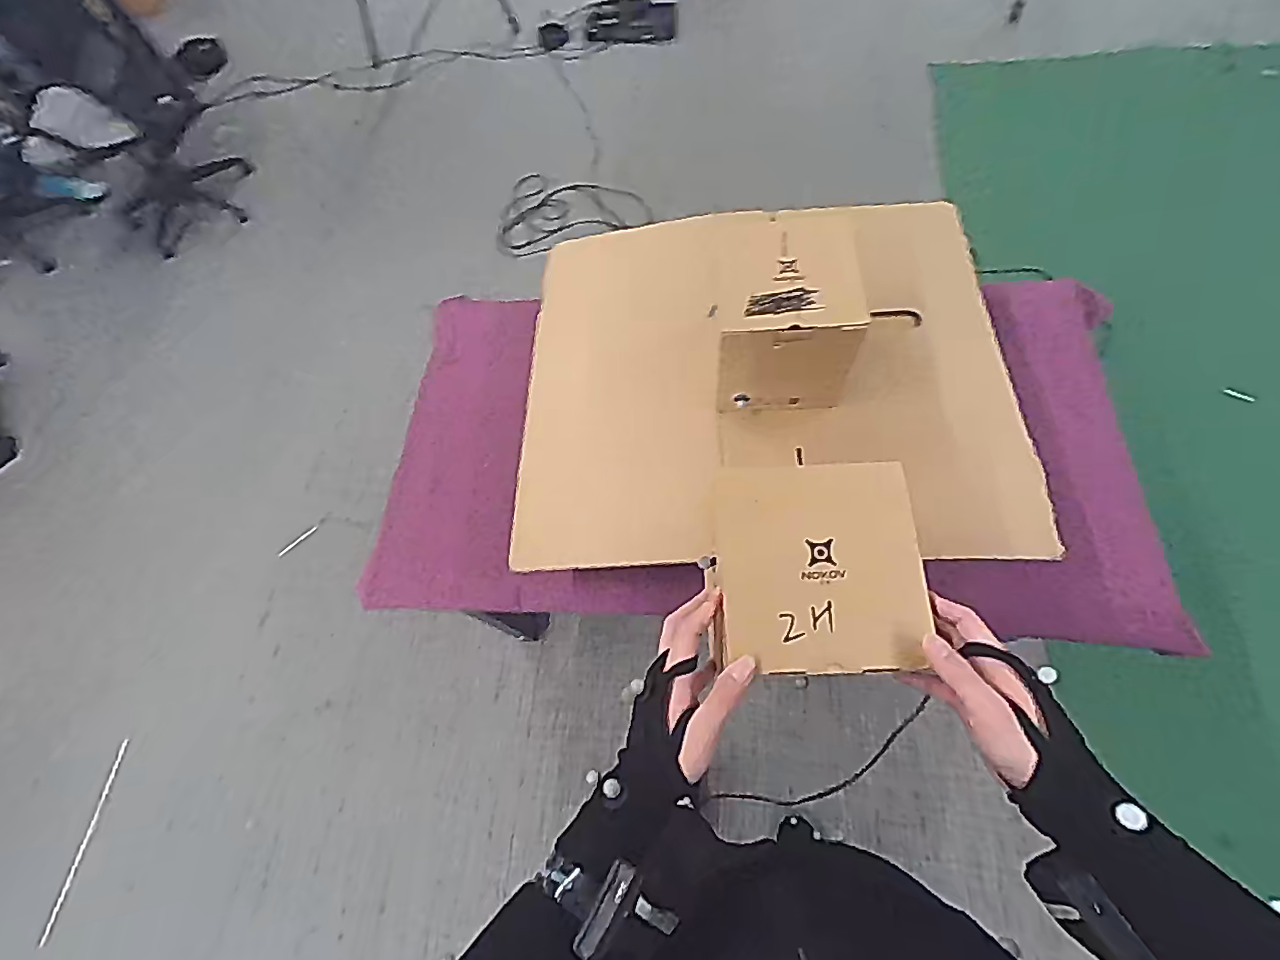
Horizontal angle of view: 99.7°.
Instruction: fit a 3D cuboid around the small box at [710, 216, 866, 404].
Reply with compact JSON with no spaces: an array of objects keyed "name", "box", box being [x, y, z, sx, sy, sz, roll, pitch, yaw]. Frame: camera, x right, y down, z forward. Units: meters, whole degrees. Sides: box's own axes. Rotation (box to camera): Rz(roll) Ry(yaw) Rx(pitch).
[{"name":"small box","box":[0.179,-0.210,0.707,0.168,0.176,0.179,-1,64,5]}]
